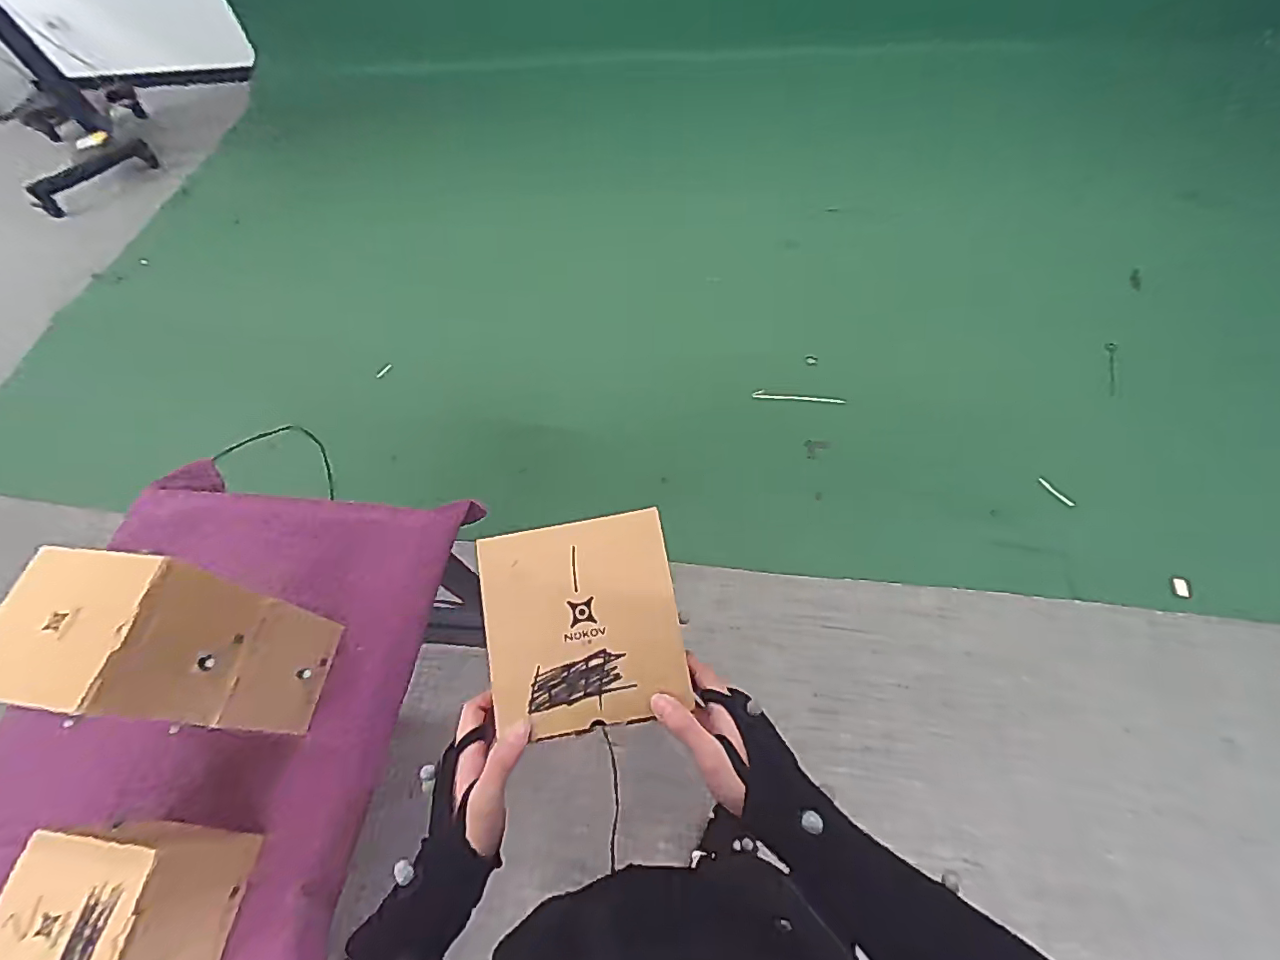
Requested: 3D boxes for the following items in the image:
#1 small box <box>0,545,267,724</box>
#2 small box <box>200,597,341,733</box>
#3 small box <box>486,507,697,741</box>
[{"bbox_3d":[-0.609,0.190,0.648,0.179,0.176,0.168,3,61,8],"label":"small box"},{"bbox_3d":[-0.588,0.268,0.790,0.179,0.176,0.168,3,62,9],"label":"small box"},{"bbox_3d":[-0.043,0.136,0.540,0.168,0.176,0.179,-9,76,-2],"label":"small box"}]
